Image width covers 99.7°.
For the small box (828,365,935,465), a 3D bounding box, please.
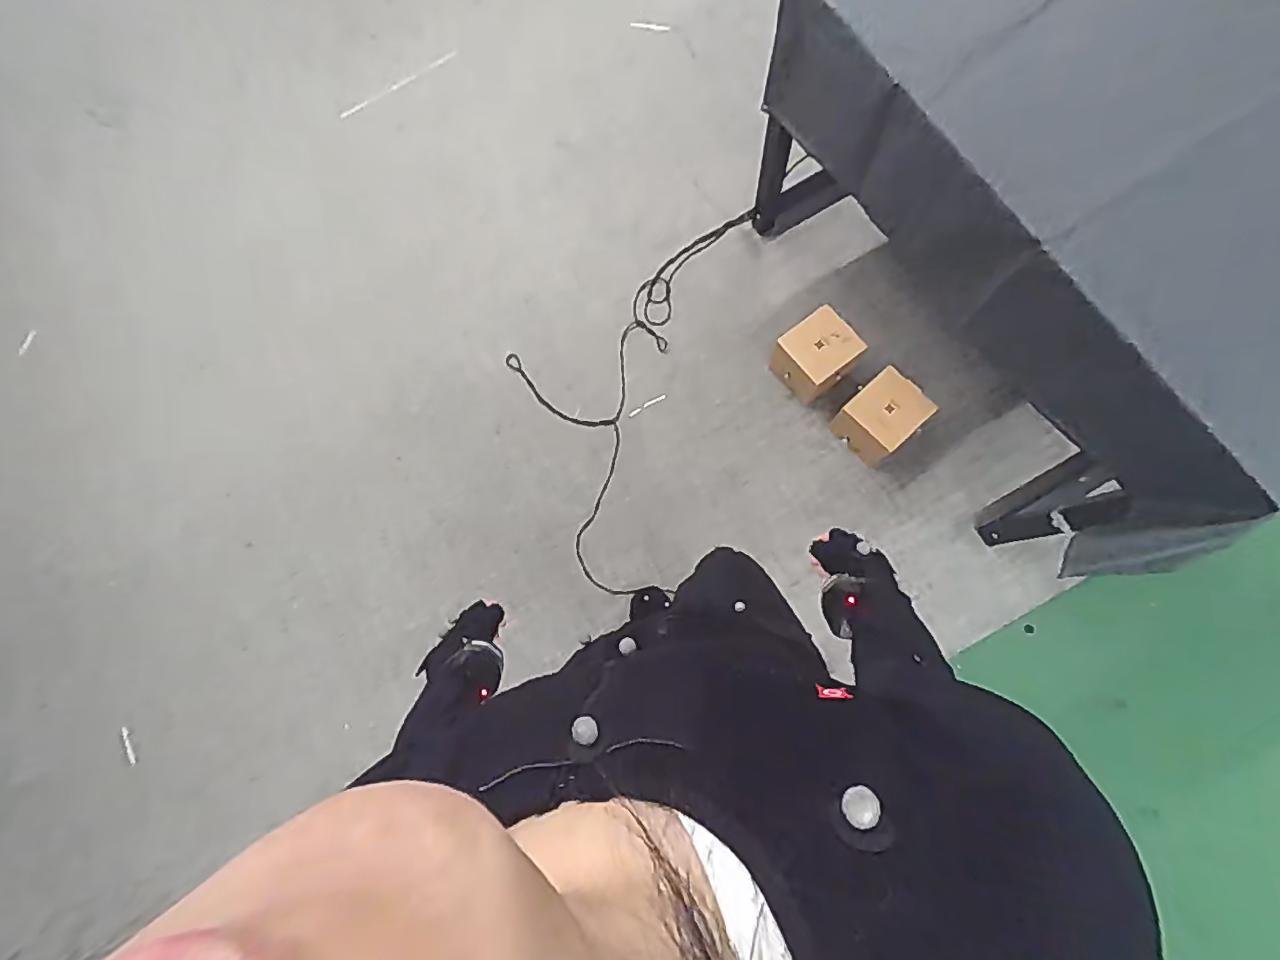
[{"bbox_3d":[0.635,-0.168,1.448,0.179,0.176,0.168,-42,78,-5],"label":"small box"}]
